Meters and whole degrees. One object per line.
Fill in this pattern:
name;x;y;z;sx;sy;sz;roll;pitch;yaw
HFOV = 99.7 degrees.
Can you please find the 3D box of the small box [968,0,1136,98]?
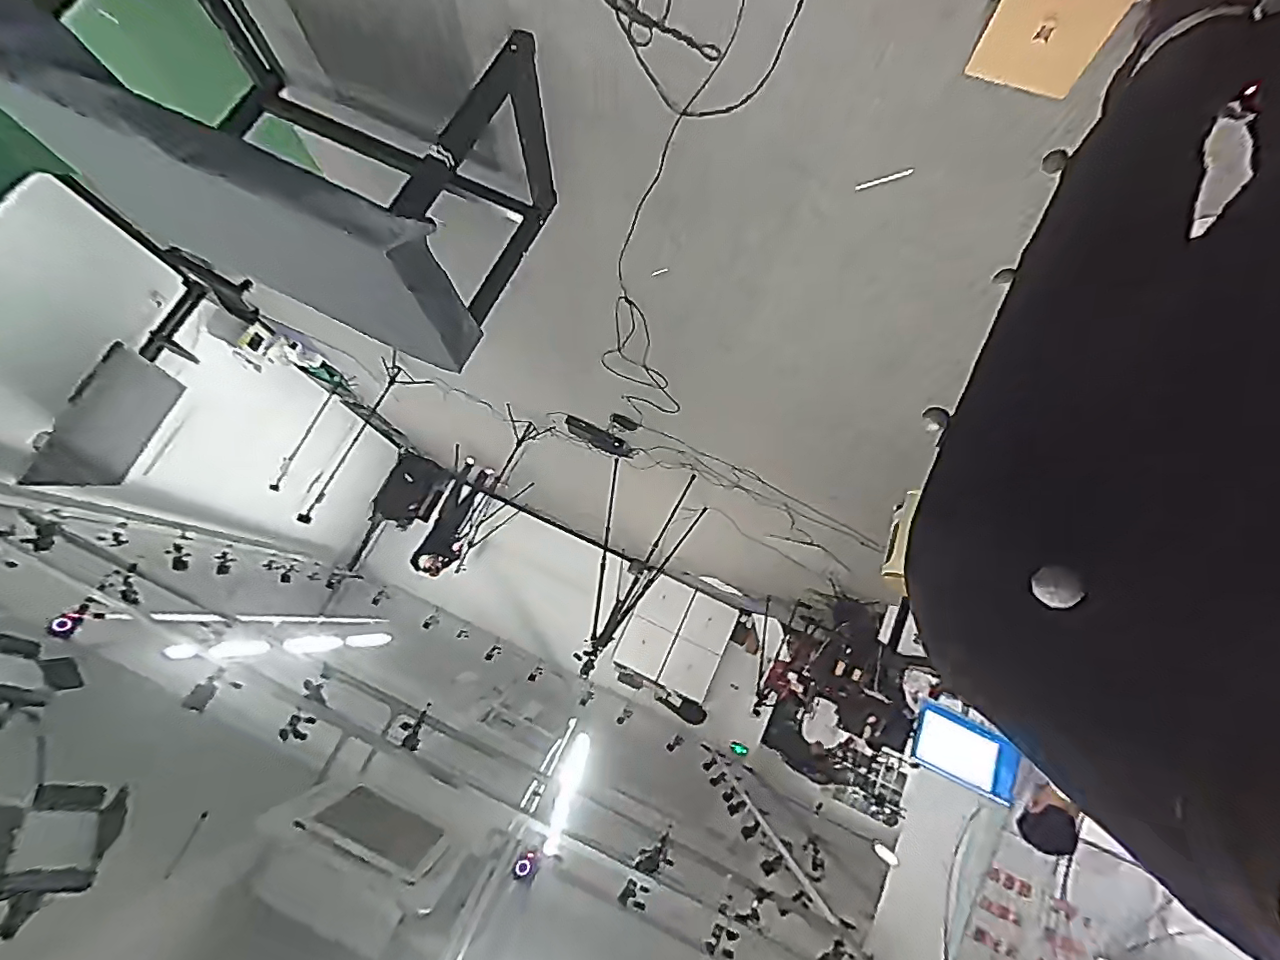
small box;0.655;-0.752;0.836;0.168;0.176;0.179;24;164;10
